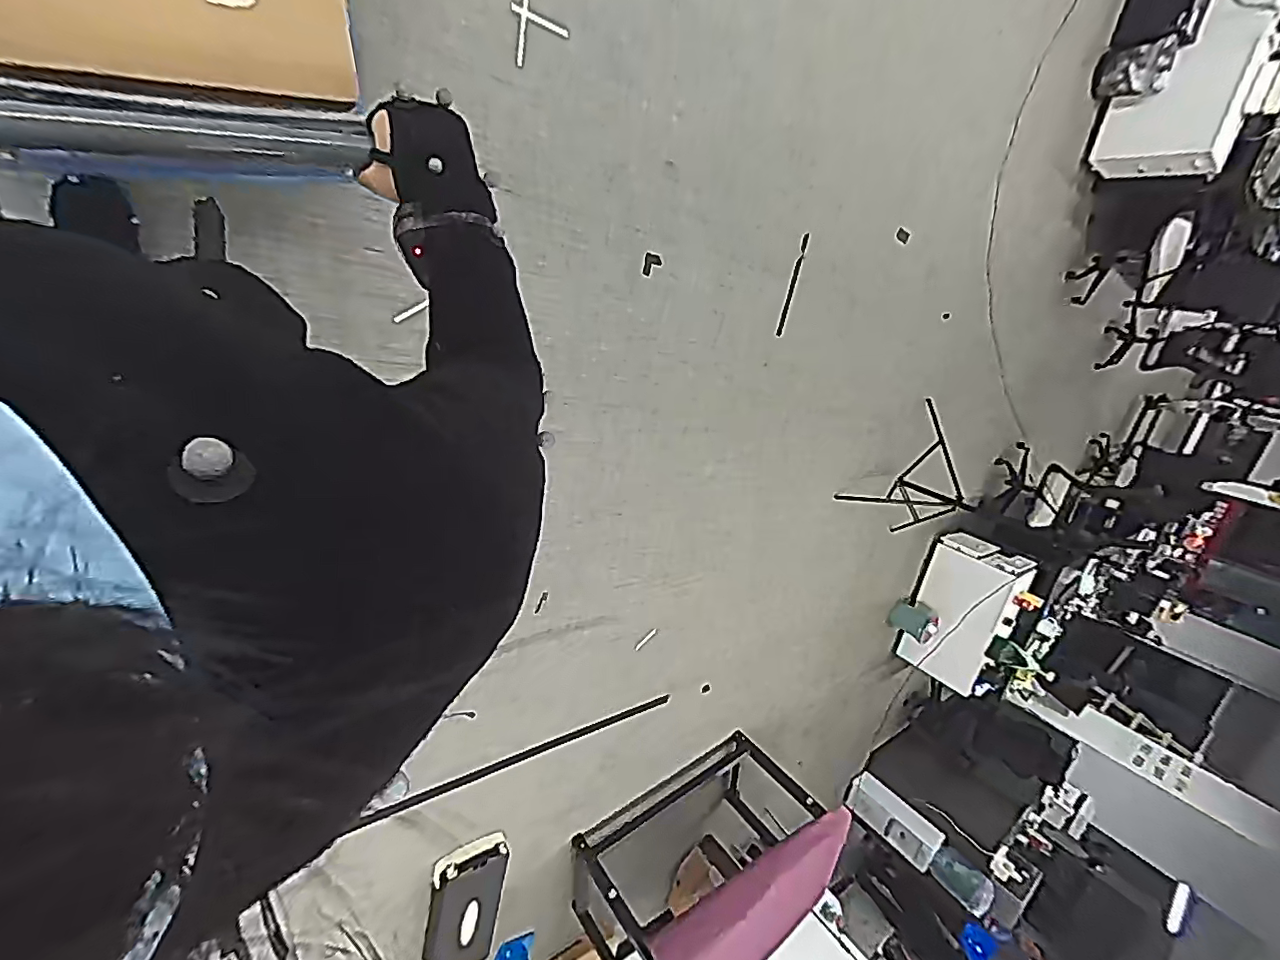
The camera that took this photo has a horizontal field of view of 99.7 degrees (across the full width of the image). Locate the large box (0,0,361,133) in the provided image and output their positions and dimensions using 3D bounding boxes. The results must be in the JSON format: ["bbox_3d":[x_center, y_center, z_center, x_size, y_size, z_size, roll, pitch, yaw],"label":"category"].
[{"bbox_3d":[-0.653,-0.673,0.718,0.408,0.320,0.320,-18,122,-34],"label":"large box"}]
